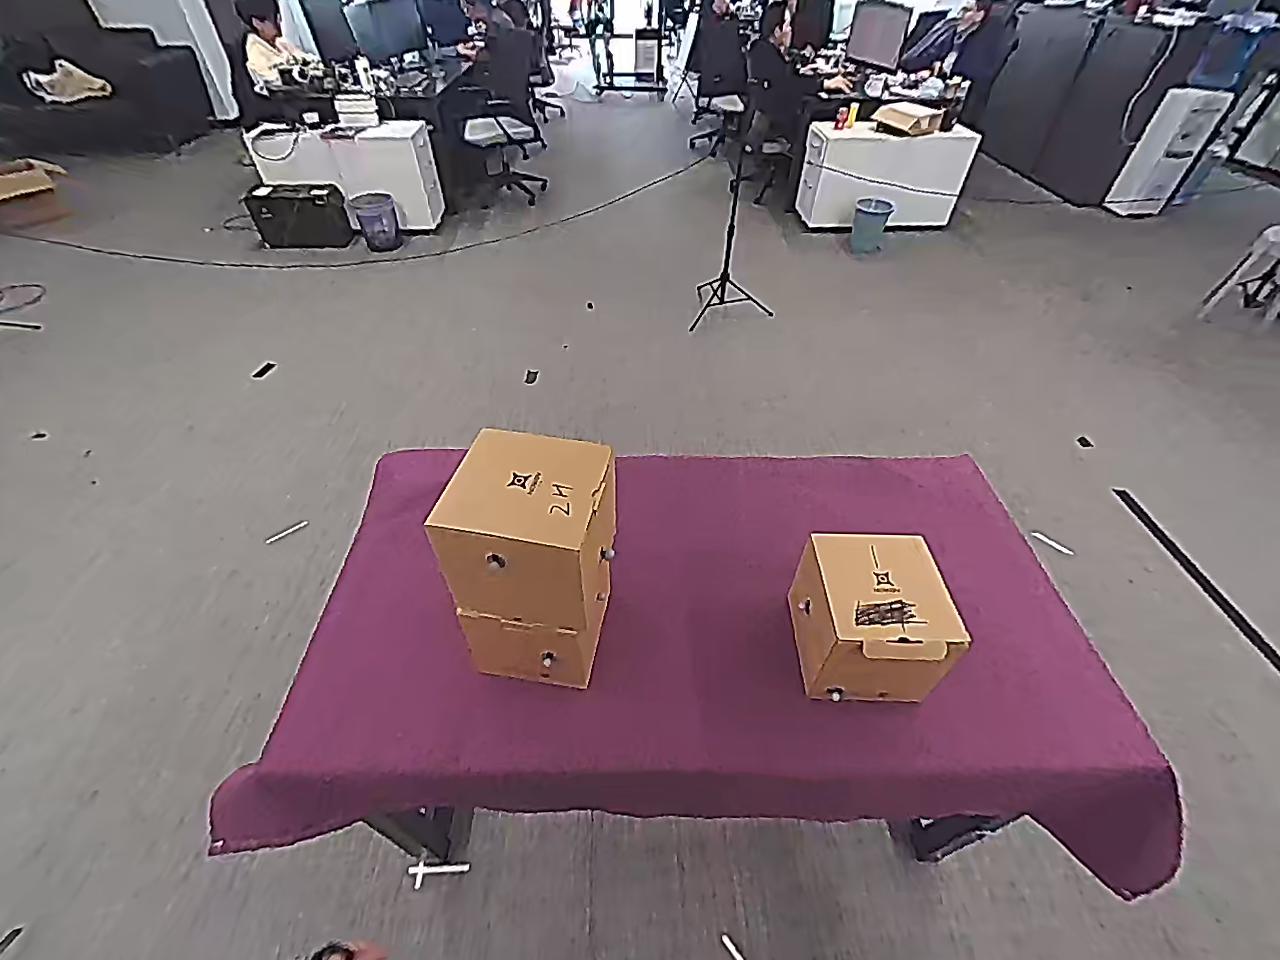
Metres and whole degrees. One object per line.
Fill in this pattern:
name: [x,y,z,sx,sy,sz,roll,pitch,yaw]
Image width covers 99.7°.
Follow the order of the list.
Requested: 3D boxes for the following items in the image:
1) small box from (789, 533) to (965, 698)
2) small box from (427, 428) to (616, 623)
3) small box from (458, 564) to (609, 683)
small box: [0.323,0.197,0.781,0.168,0.176,0.179,2,44,1]
small box: [-0.132,0.059,0.682,0.179,0.176,0.168,9,47,7]
small box: [-0.141,0.175,0.797,0.168,0.176,0.179,8,45,6]
